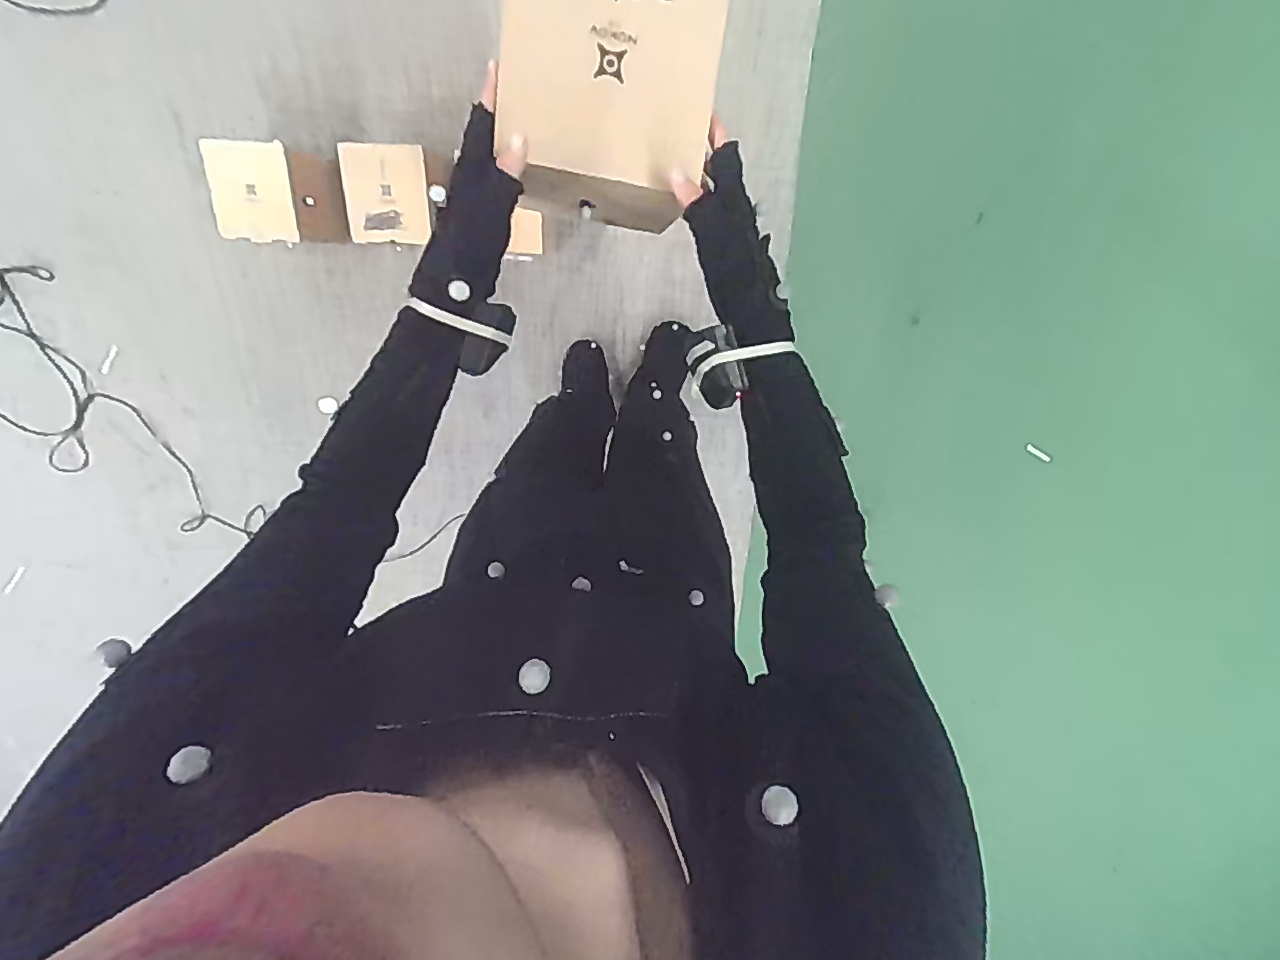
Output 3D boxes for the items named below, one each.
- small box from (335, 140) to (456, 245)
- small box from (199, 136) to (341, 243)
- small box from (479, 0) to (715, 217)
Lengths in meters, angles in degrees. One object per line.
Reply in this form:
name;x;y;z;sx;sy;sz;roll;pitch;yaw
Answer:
small box;-0.494;-0.586;1.122;0.168;0.176;0.179;3;112;2
small box;-0.760;-0.598;1.132;0.168;0.176;0.179;4;113;2
small box;-0.040;-0.351;0.477;0.168;0.176;0.179;6;103;-10
